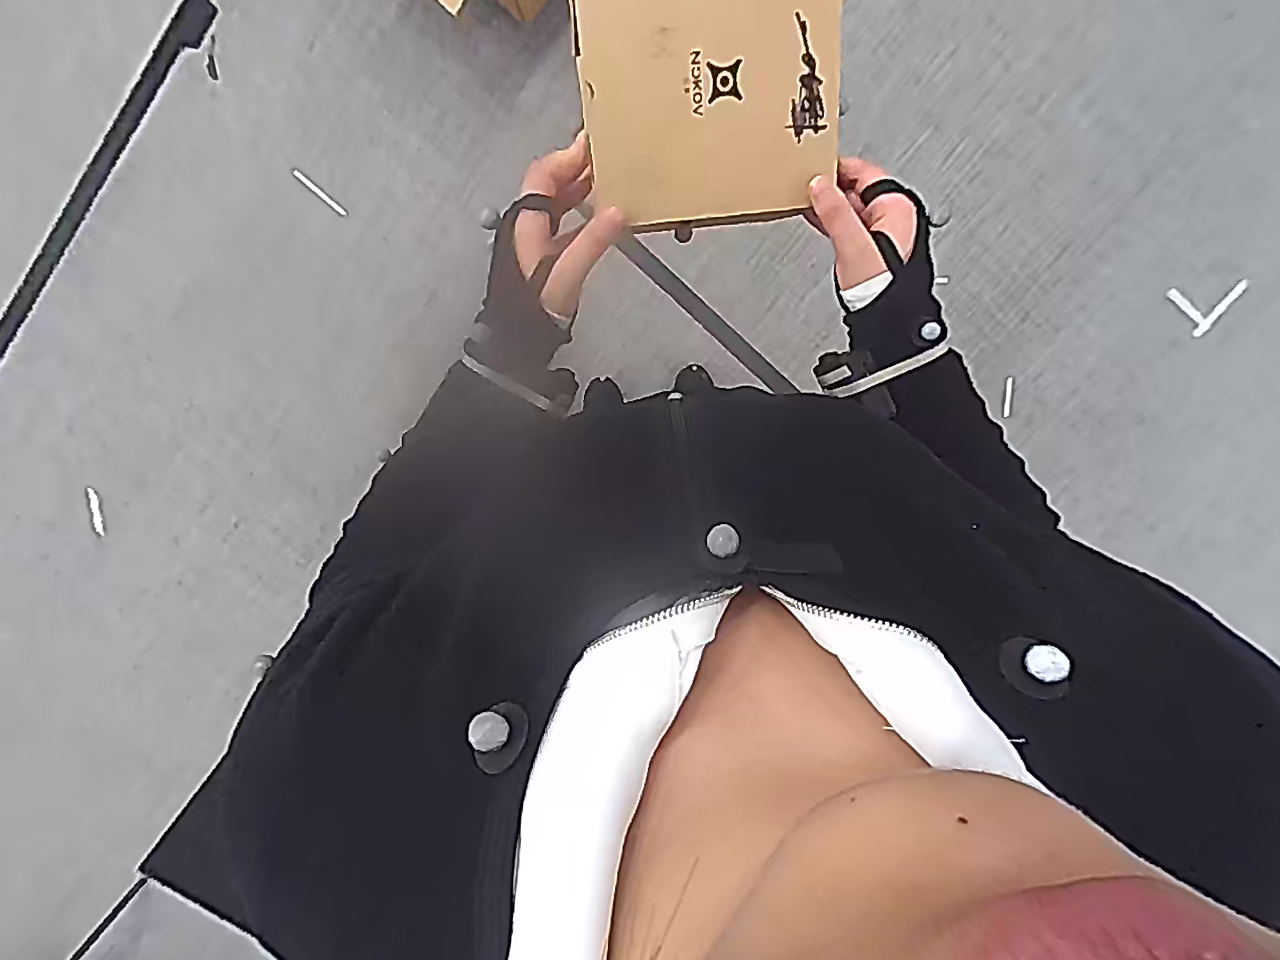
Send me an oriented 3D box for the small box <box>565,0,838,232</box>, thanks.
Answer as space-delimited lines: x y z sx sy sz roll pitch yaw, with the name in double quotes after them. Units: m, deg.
0.042 -0.299 0.433 0.179 0.176 0.168 -6 113 0 "small box"
